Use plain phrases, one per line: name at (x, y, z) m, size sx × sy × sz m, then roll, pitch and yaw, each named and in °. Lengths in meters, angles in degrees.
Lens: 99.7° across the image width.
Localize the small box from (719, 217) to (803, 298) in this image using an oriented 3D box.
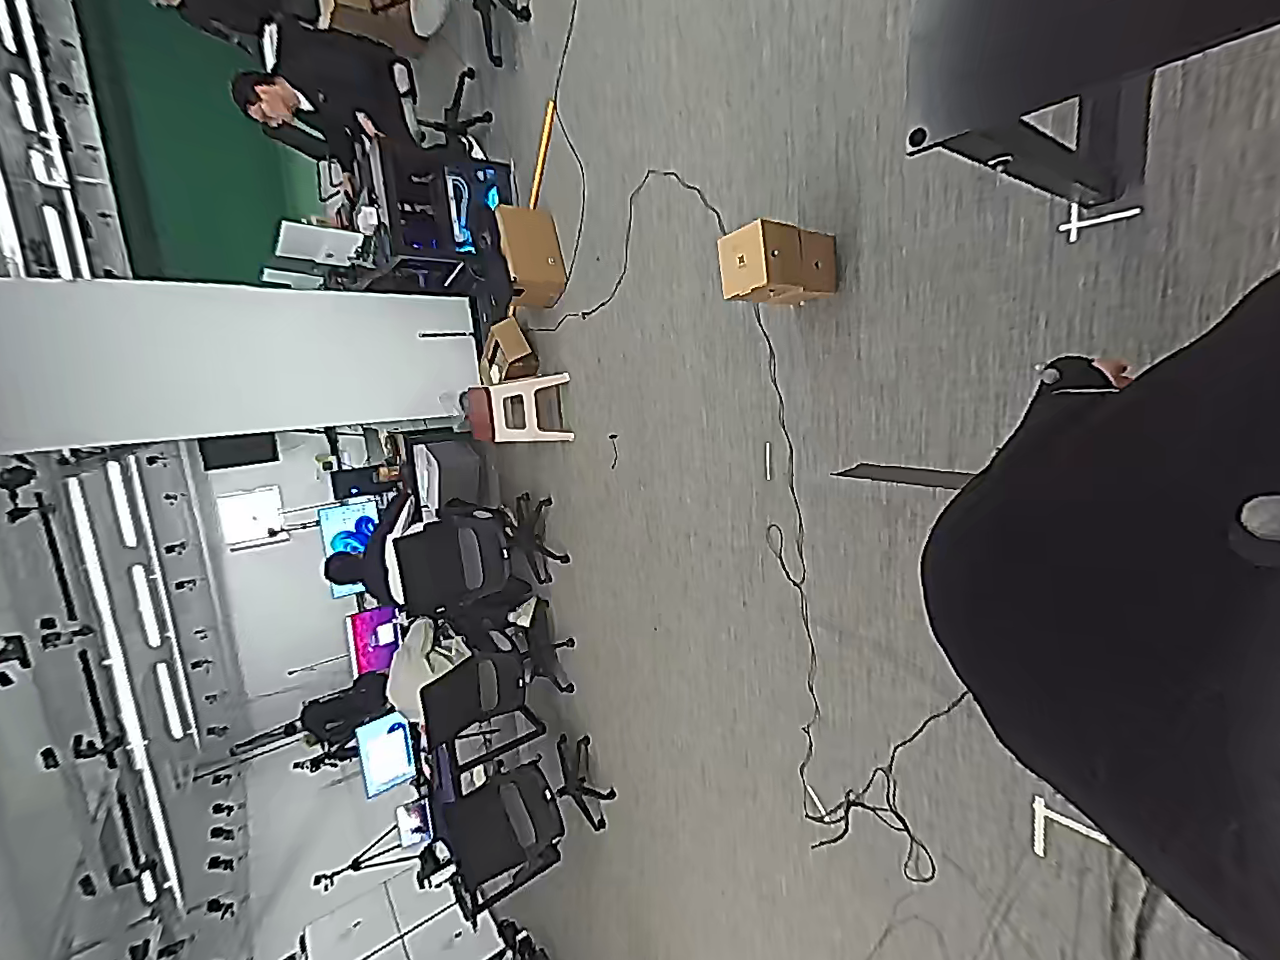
small box at (0.352, -0.633, 1.561) m, size 0.168 × 0.176 × 0.179 m, roll -1°, pitch 97°, yaw 53°

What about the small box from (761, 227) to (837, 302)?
small box at (0.483, -0.652, 1.655) m, size 0.168 × 0.176 × 0.179 m, roll 4°, pitch 103°, yaw 54°
